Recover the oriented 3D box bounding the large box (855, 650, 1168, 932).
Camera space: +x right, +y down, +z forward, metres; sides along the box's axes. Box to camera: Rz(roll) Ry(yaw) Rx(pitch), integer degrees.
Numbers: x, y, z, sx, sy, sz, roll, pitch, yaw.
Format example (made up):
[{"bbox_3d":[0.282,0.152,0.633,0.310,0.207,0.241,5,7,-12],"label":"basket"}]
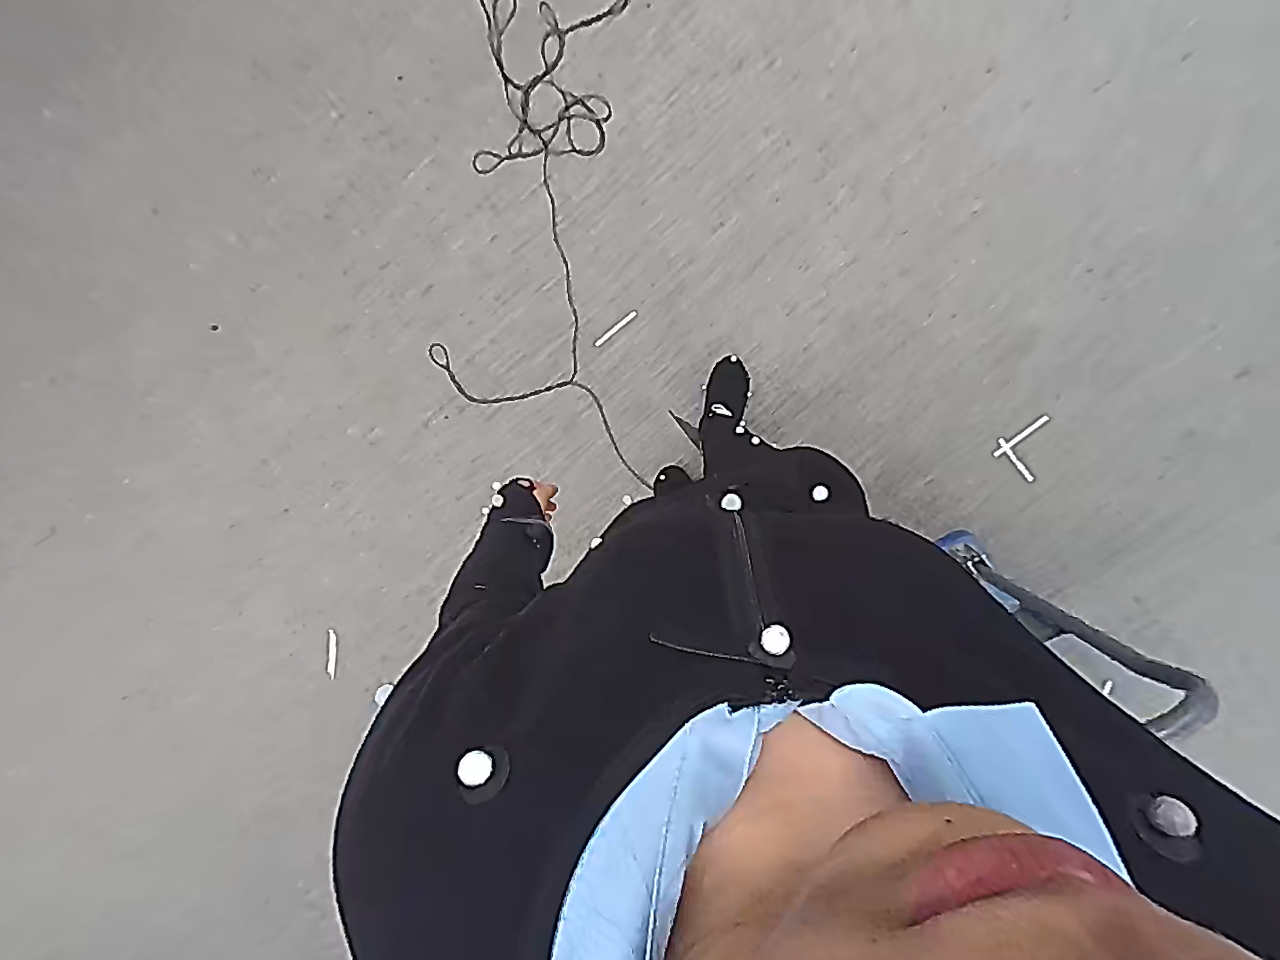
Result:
[{"bbox_3d":[0.762,0.650,1.183,0.408,0.320,0.320,-32,93,9],"label":"large box"}]
